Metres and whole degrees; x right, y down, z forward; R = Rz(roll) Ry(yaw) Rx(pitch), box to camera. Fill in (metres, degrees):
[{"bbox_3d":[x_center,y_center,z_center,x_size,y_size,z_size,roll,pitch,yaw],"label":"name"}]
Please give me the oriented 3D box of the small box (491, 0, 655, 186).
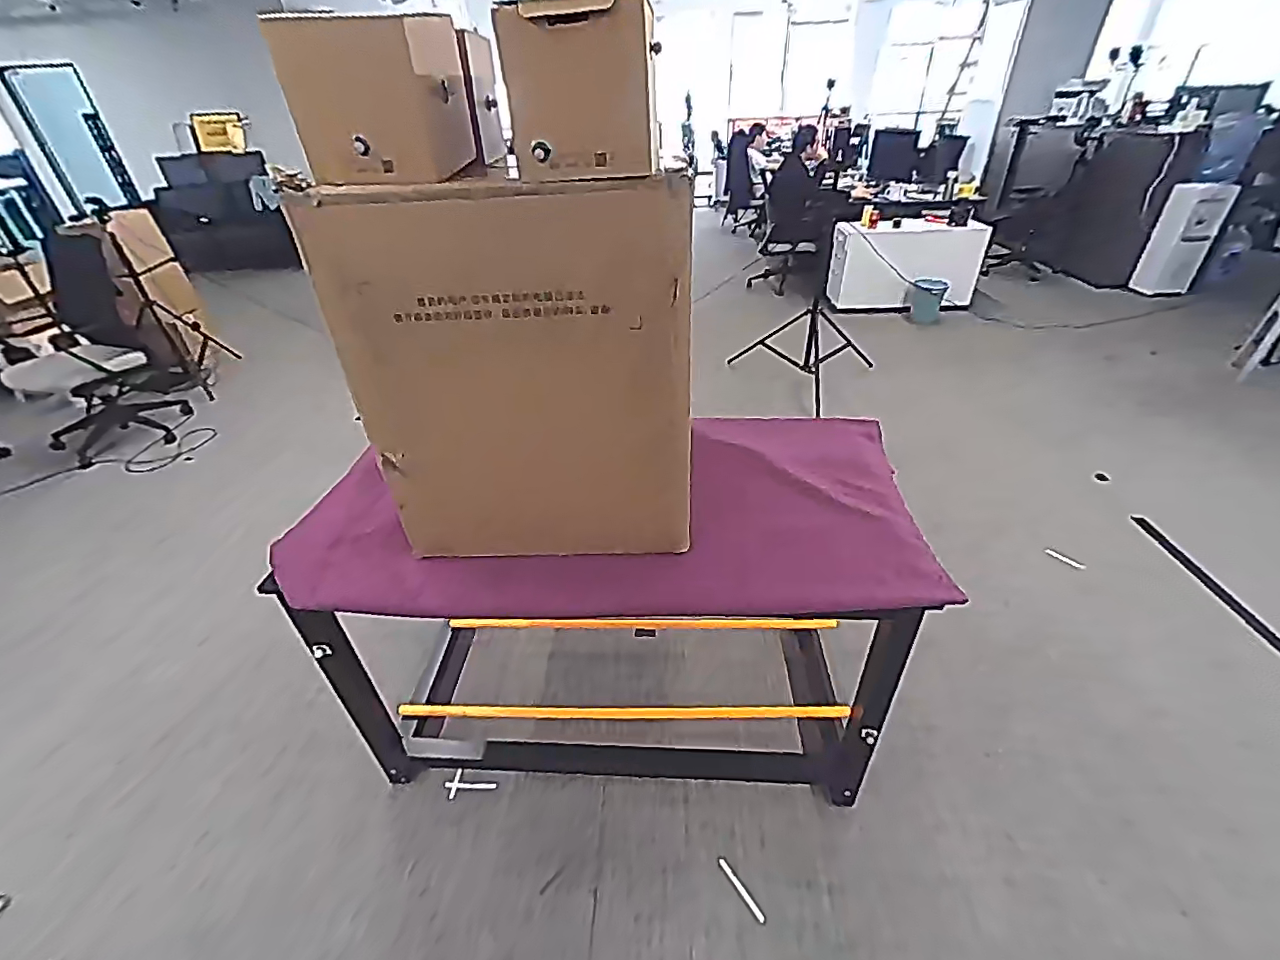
[{"bbox_3d":[-0.068,-0.472,0.675,0.168,0.176,0.179,-1,36,4],"label":"small box"}]
